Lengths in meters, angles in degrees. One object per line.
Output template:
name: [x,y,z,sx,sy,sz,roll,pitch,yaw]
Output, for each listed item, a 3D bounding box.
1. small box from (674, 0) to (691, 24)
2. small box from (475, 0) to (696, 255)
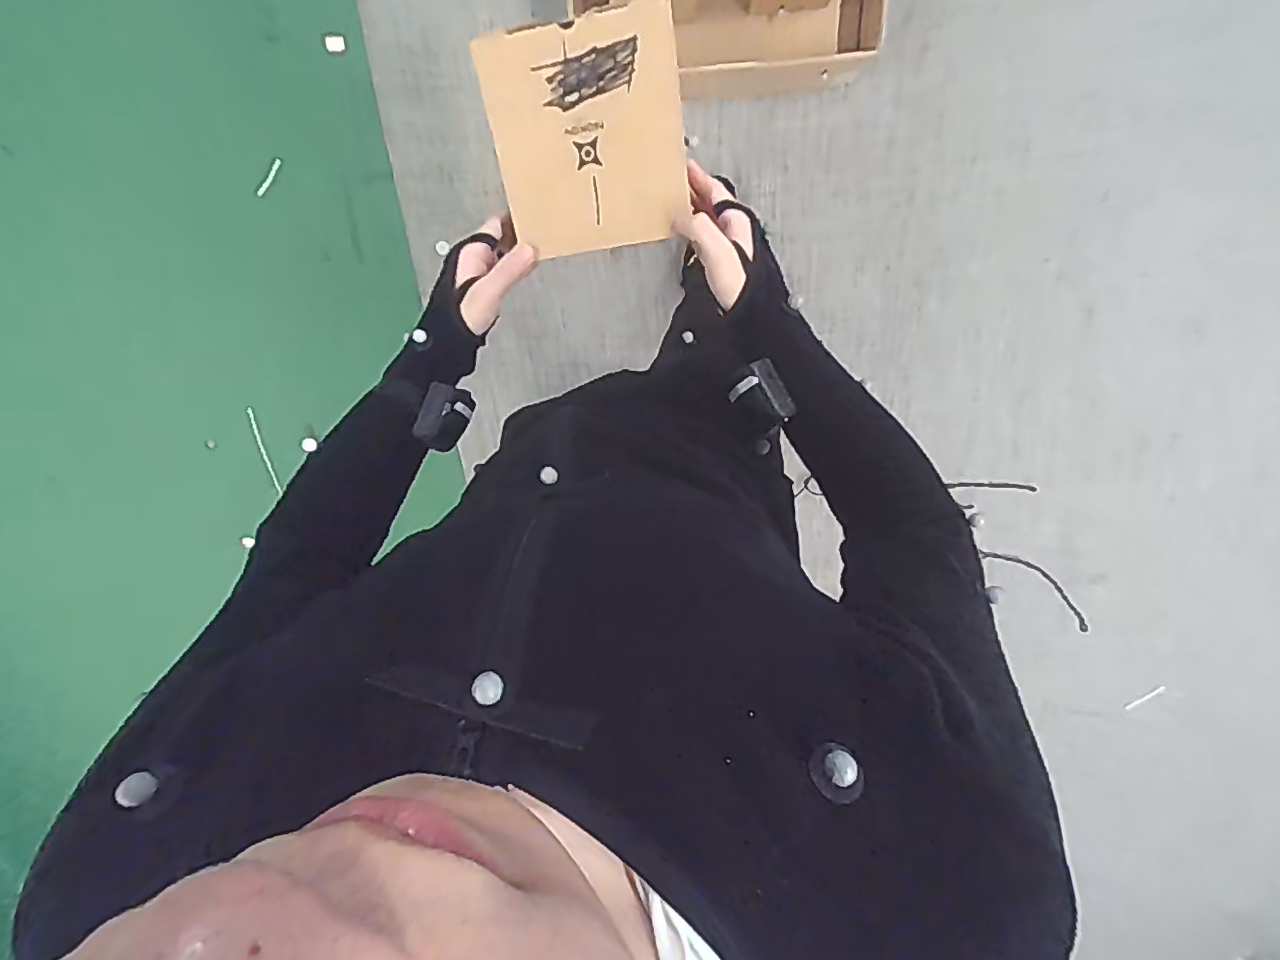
small box: [0.016,-1.021,1.059,0.168,0.176,0.179,-1,114,5]
small box: [-0.037,-0.330,0.533,0.168,0.176,0.179,-6,115,9]
